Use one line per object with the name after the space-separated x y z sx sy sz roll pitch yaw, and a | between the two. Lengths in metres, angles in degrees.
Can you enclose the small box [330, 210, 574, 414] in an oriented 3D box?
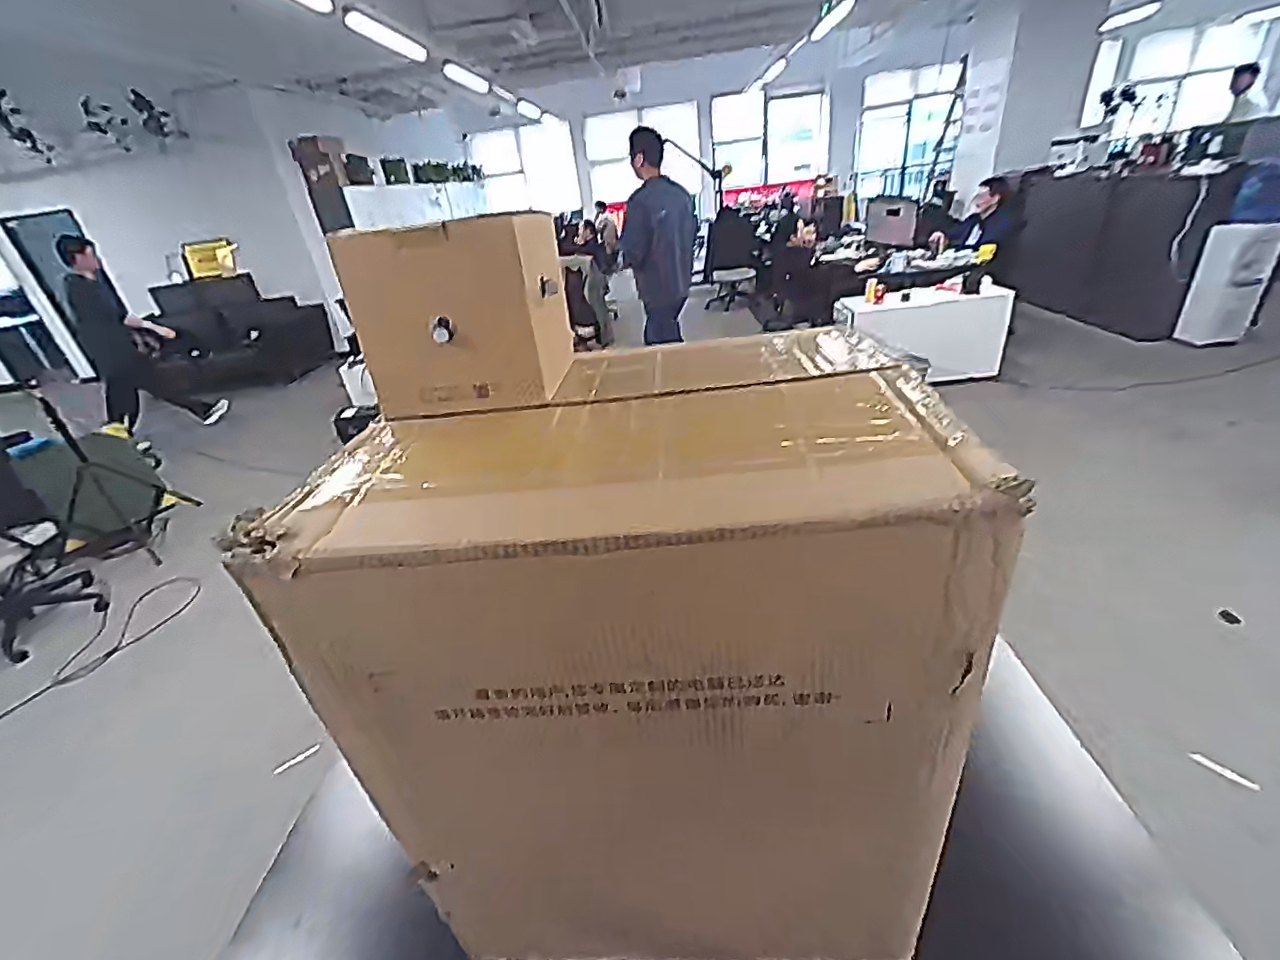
-0.169 -0.171 0.557 0.168 0.176 0.179 -4 27 4 | small box
